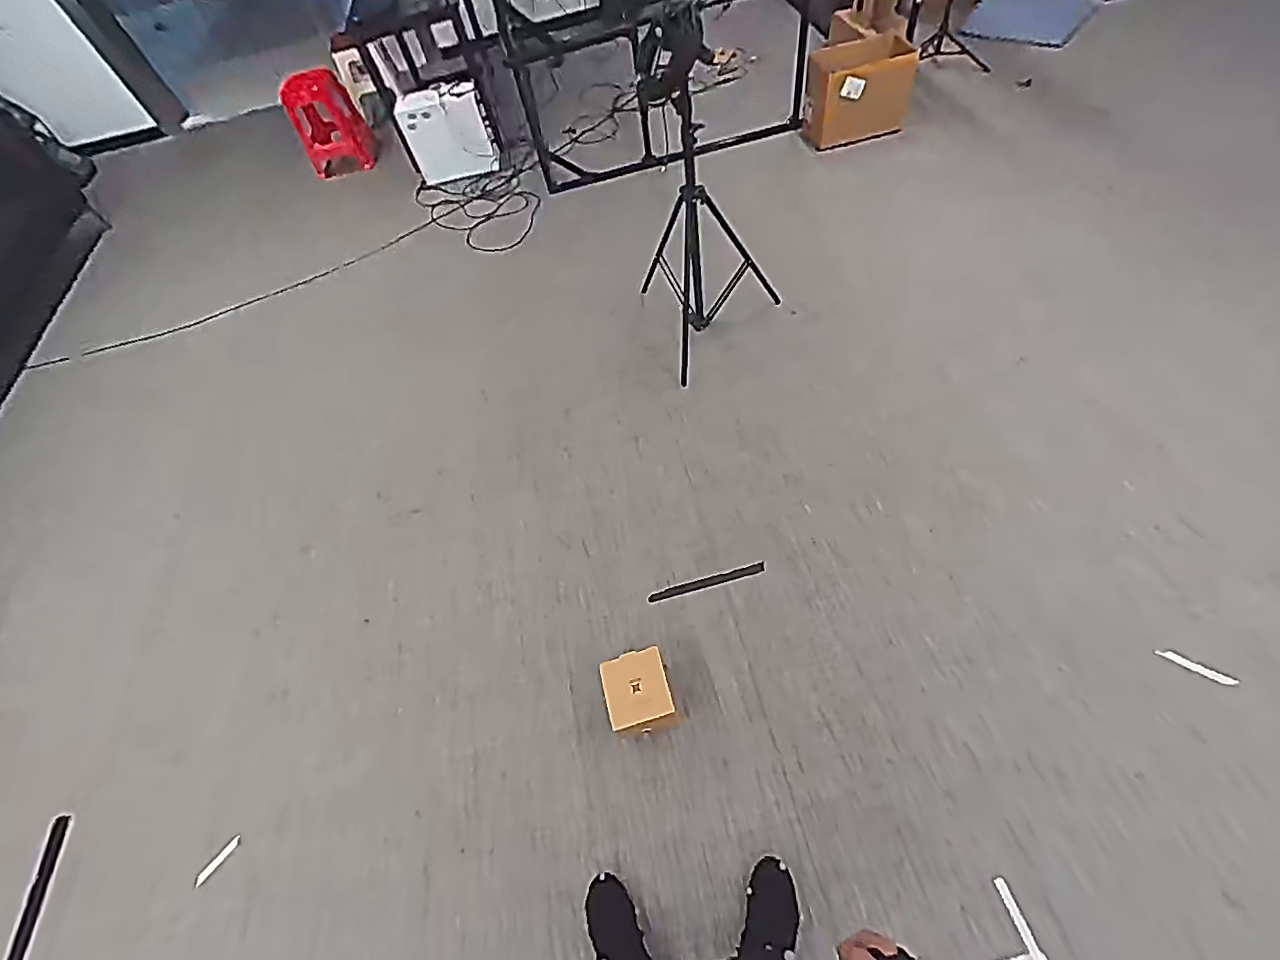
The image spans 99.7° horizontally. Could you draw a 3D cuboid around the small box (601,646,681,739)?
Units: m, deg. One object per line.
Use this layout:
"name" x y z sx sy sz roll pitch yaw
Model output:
"small box" 0.004 0.573 1.449 0.168 0.176 0.179 -17 57 0
